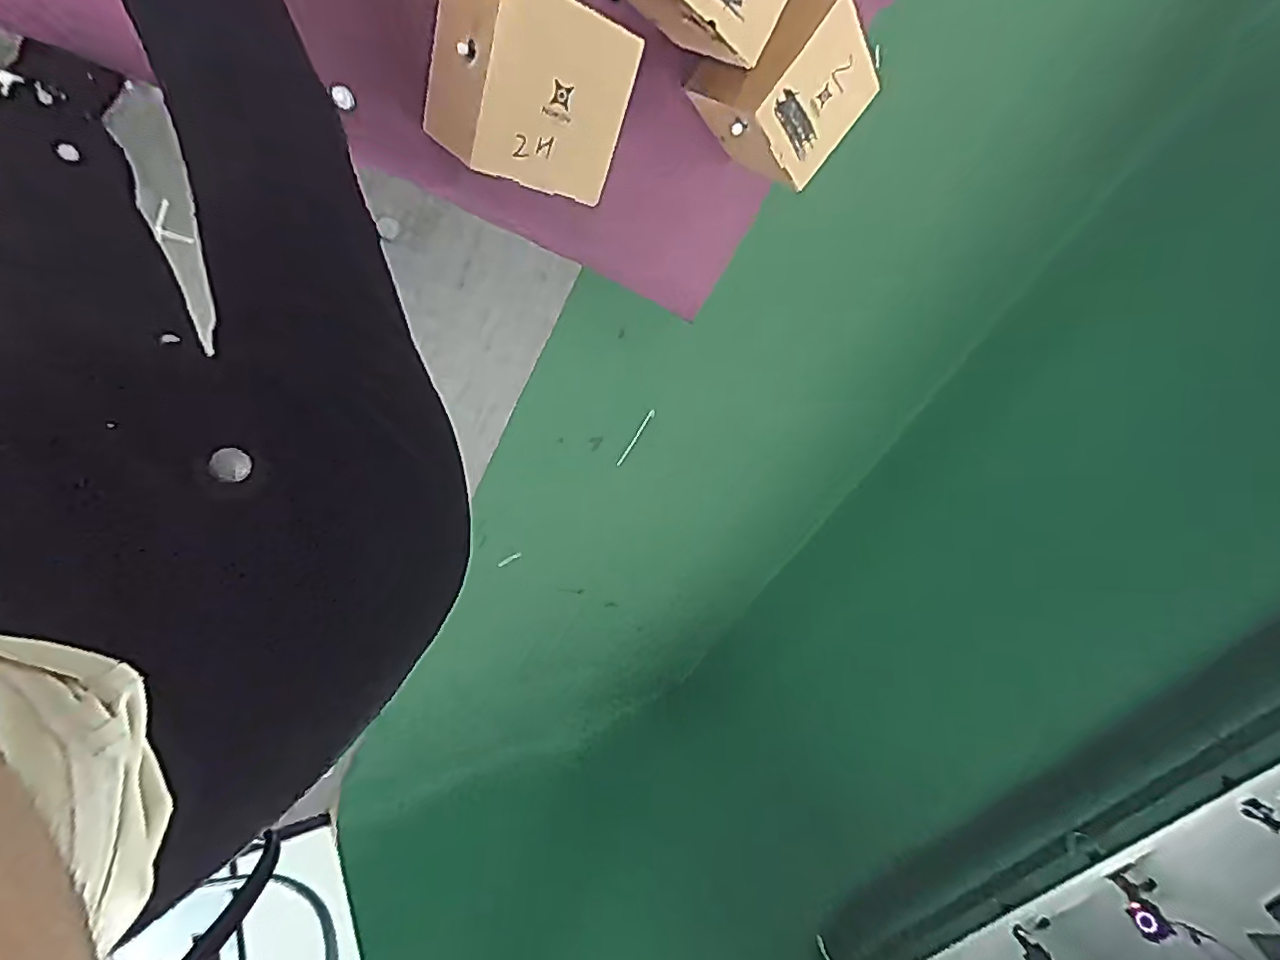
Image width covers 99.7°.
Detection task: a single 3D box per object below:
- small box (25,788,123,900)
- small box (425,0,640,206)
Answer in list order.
[{"bbox_3d":[-1.541,0.986,1.478,0.168,0.176,0.179,8,122,-46],"label":"small box"},{"bbox_3d":[-0.133,-0.450,0.621,0.168,0.176,0.179,-5,131,-39],"label":"small box"}]
